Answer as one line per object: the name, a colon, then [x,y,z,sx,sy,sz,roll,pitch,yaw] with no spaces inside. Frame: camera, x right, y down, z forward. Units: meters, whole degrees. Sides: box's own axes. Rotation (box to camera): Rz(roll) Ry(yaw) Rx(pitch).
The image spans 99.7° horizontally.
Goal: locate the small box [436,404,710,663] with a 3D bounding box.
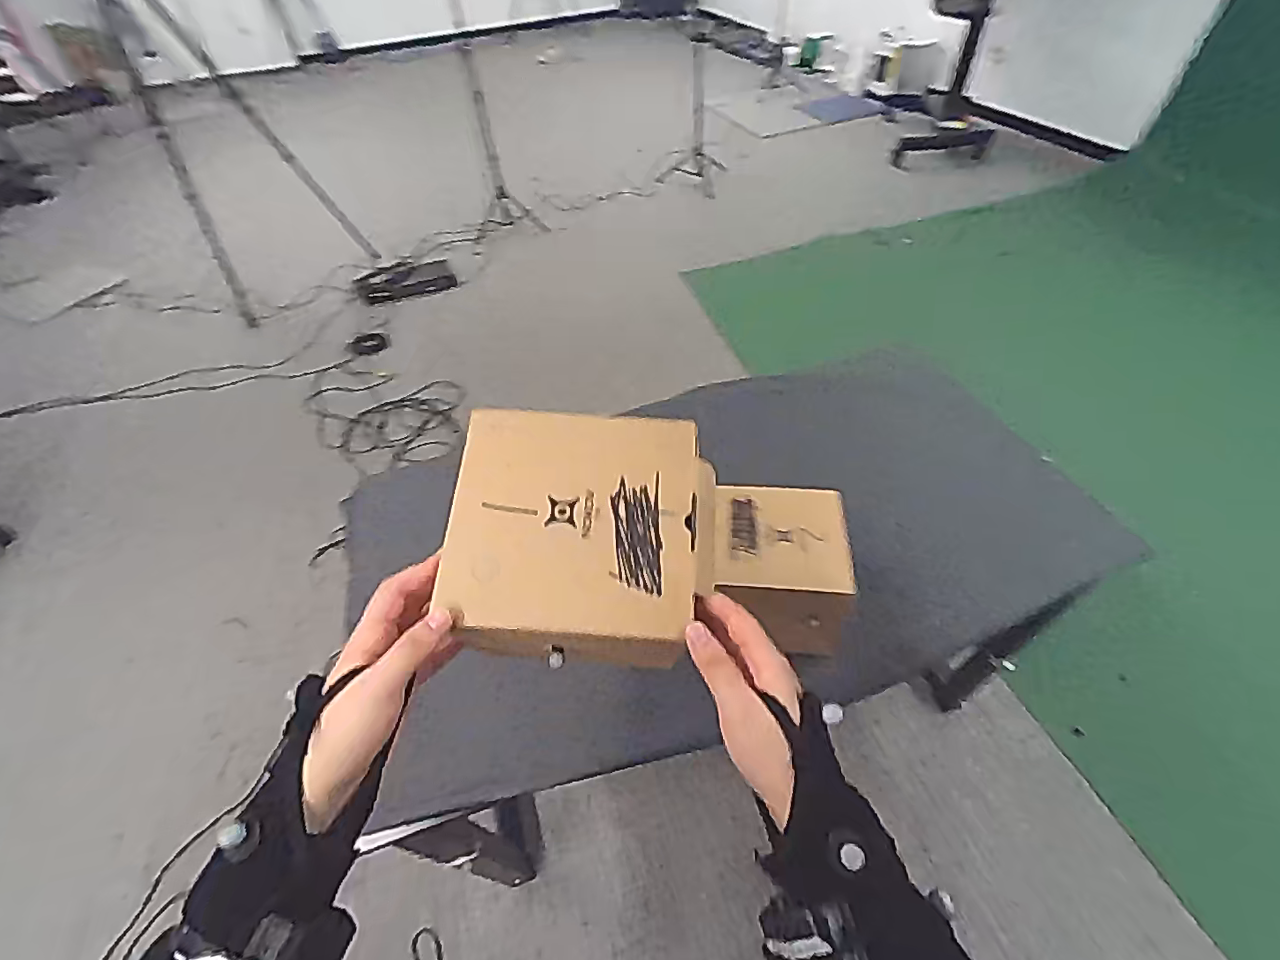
small box: [-0.041,0.056,0.452,0.179,0.176,0.168,4,66,1]
